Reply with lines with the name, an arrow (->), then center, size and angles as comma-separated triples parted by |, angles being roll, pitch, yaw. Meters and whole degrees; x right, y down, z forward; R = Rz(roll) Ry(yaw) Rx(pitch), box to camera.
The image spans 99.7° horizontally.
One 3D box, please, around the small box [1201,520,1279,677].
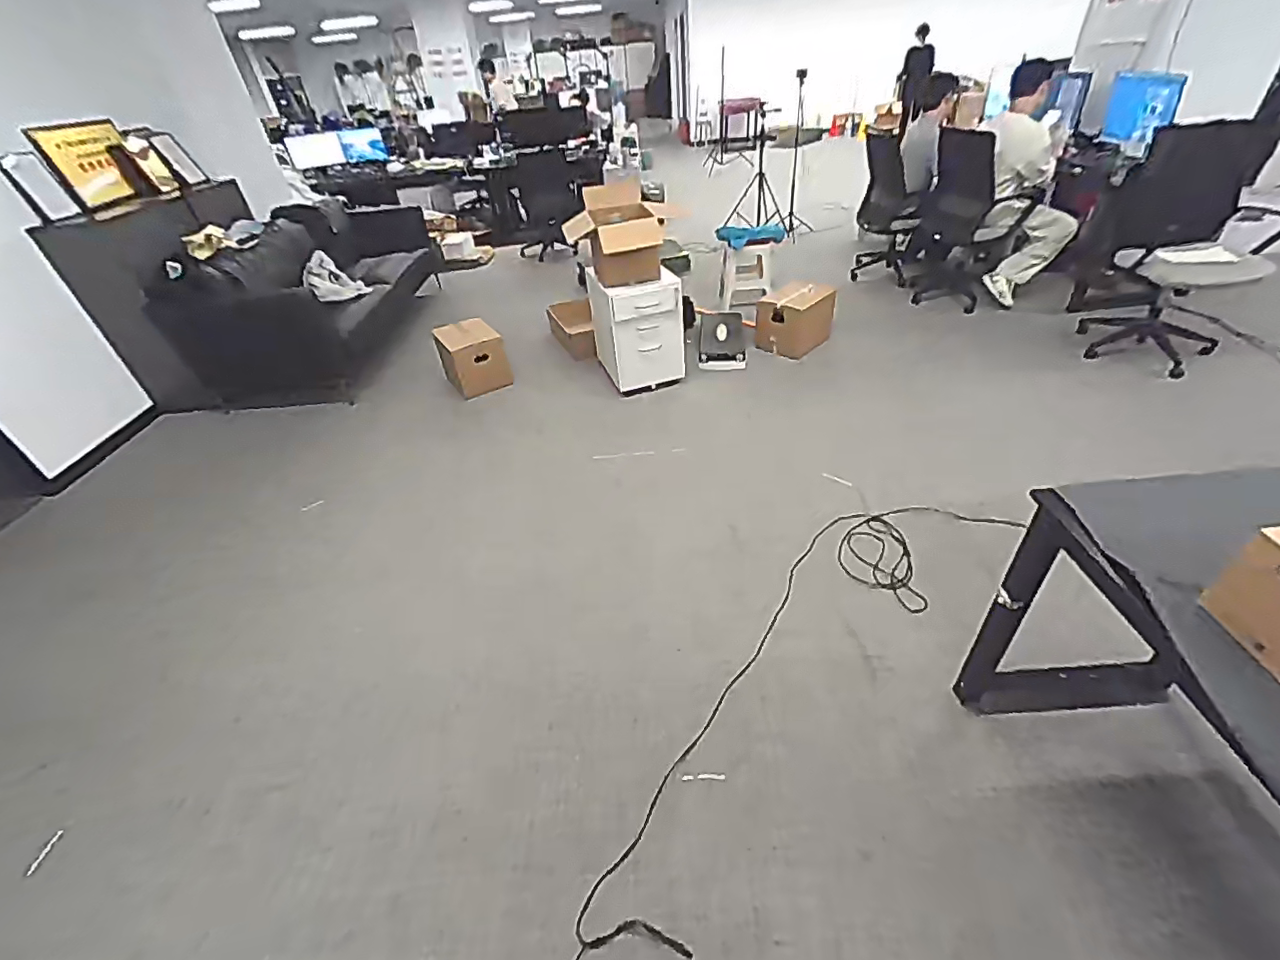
small box -> 0.994, 0.172, 0.776 | 0.179, 0.176, 0.168 | -4, 38, 2
